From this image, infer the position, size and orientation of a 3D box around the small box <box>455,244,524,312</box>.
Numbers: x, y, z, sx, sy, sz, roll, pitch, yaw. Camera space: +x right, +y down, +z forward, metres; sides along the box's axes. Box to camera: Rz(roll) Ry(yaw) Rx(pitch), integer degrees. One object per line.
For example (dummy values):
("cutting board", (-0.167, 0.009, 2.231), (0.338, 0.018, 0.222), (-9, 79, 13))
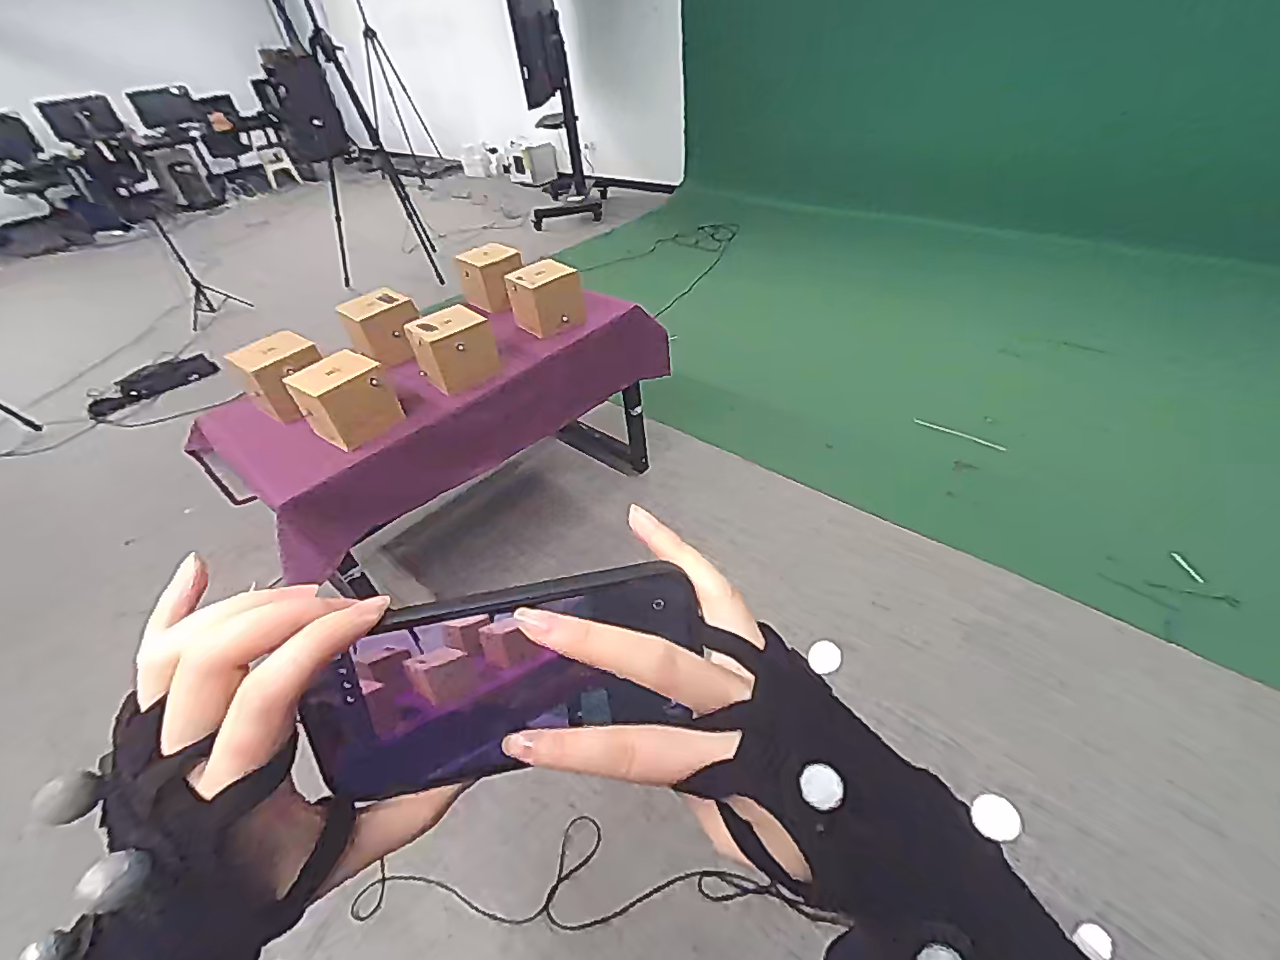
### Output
("small box", (-0.519, -0.711, 1.909), (0.168, 0.176, 0.179), (-36, 50, -28))

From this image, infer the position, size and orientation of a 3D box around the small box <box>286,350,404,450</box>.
("small box", (-0.738, -0.201, 1.369), (0.168, 0.176, 0.179), (23, 48, 29))

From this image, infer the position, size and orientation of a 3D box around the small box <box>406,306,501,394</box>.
("small box", (-0.518, -0.365, 1.522), (0.179, 0.176, 0.168), (-33, 48, -28))

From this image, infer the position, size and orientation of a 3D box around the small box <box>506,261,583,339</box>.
("small box", (-0.298, -0.577, 1.731), (0.179, 0.176, 0.168), (-33, 47, -27))
